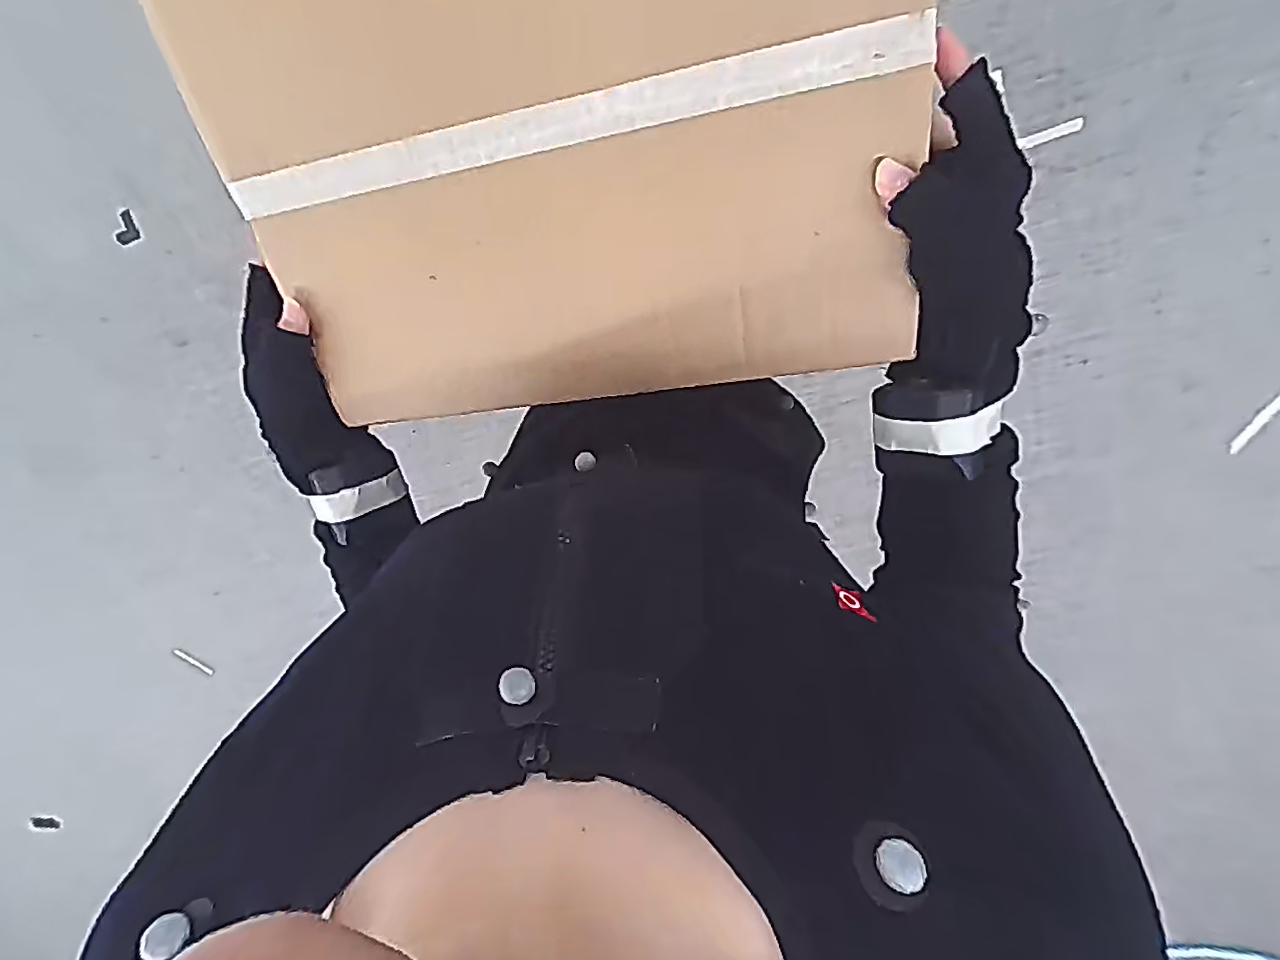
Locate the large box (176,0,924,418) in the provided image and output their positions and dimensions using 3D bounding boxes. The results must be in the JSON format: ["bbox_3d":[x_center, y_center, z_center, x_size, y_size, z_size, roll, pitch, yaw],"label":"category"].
[{"bbox_3d":[-0.031,-0.270,0.439,0.408,0.320,0.320,-5,119,12],"label":"large box"}]
